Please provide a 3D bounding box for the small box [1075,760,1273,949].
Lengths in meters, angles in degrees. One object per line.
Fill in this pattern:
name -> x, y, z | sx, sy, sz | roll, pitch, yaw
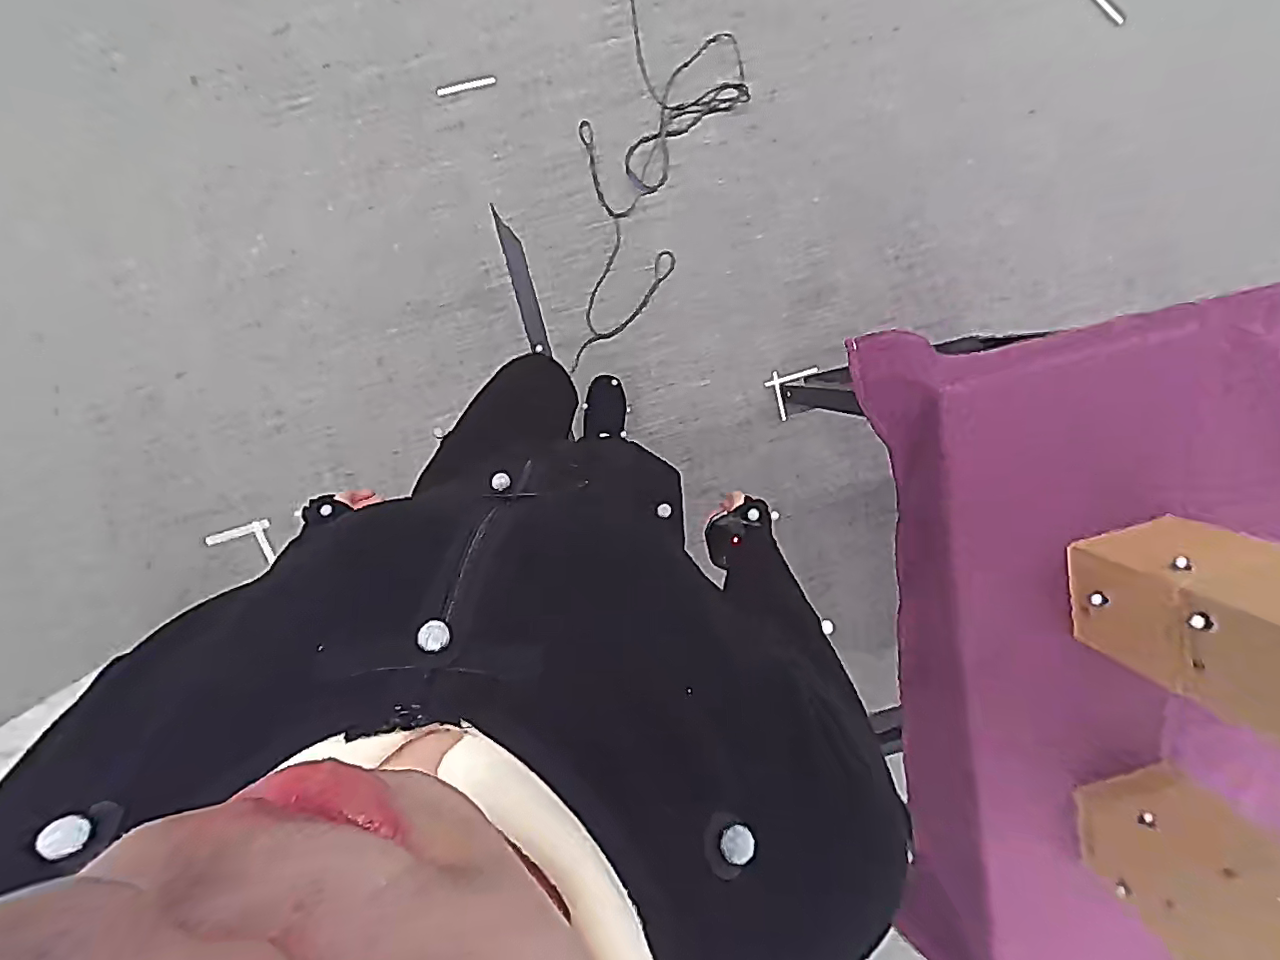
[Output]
small box -> 0.854, 0.599, 0.884 | 0.179, 0.176, 0.168 | -15, 103, -2

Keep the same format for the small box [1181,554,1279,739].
small box -> 0.786, 0.201, 0.626 | 0.179, 0.176, 0.168 | -17, 103, -1

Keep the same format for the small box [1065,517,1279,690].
small box -> 0.772, 0.168, 0.787 | 0.179, 0.176, 0.168 | -15, 103, -1
